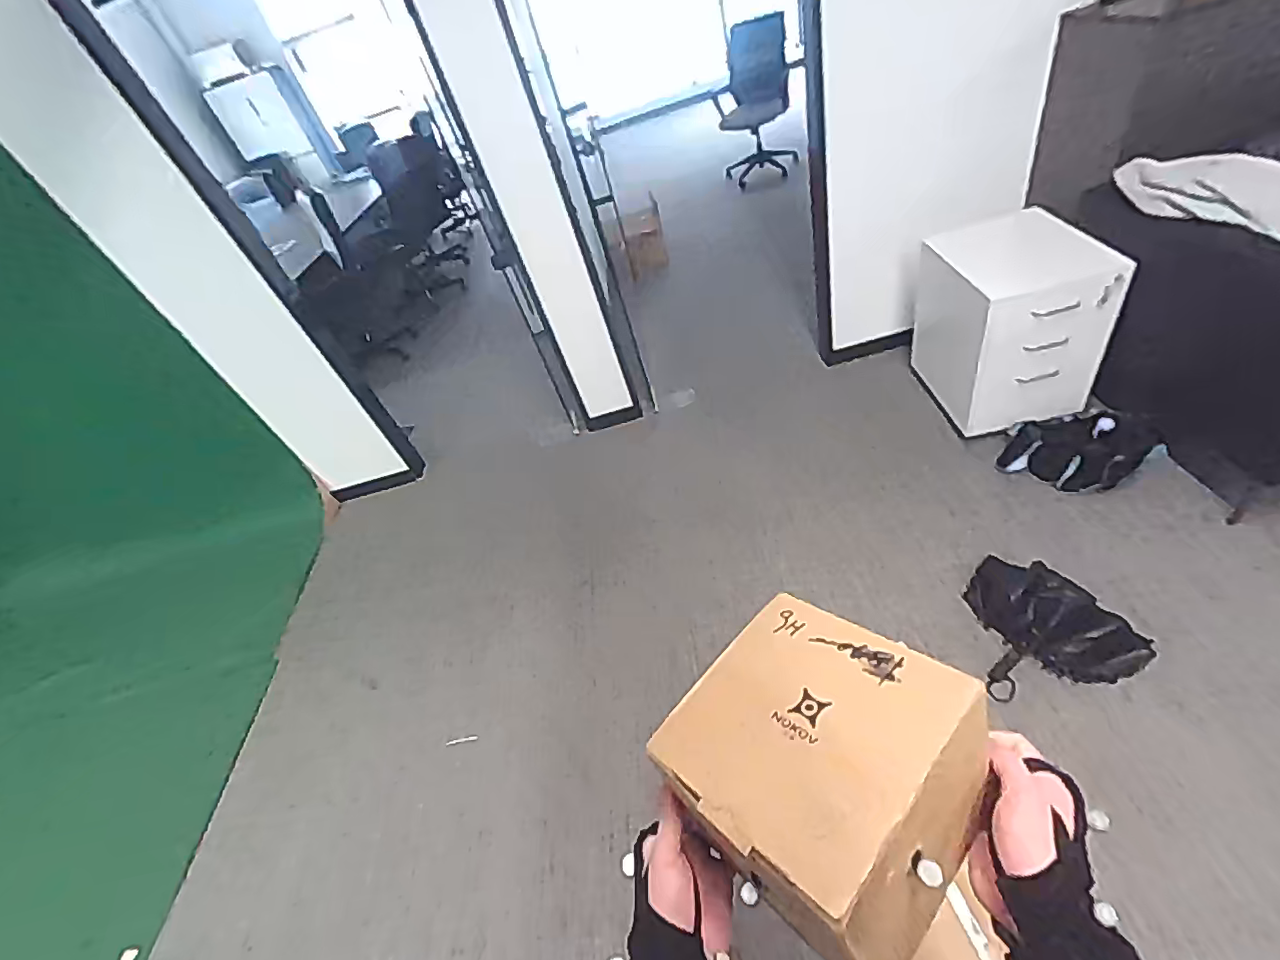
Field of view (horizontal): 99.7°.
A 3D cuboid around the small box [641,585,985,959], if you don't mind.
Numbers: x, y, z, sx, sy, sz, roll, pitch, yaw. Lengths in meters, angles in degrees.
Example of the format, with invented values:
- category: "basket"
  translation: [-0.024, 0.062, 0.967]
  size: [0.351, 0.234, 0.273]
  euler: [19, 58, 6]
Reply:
- category: "small box"
  translation: [0.137, 0.218, 0.405]
  size: [0.179, 0.176, 0.168]
  euler: [-40, 34, -24]
